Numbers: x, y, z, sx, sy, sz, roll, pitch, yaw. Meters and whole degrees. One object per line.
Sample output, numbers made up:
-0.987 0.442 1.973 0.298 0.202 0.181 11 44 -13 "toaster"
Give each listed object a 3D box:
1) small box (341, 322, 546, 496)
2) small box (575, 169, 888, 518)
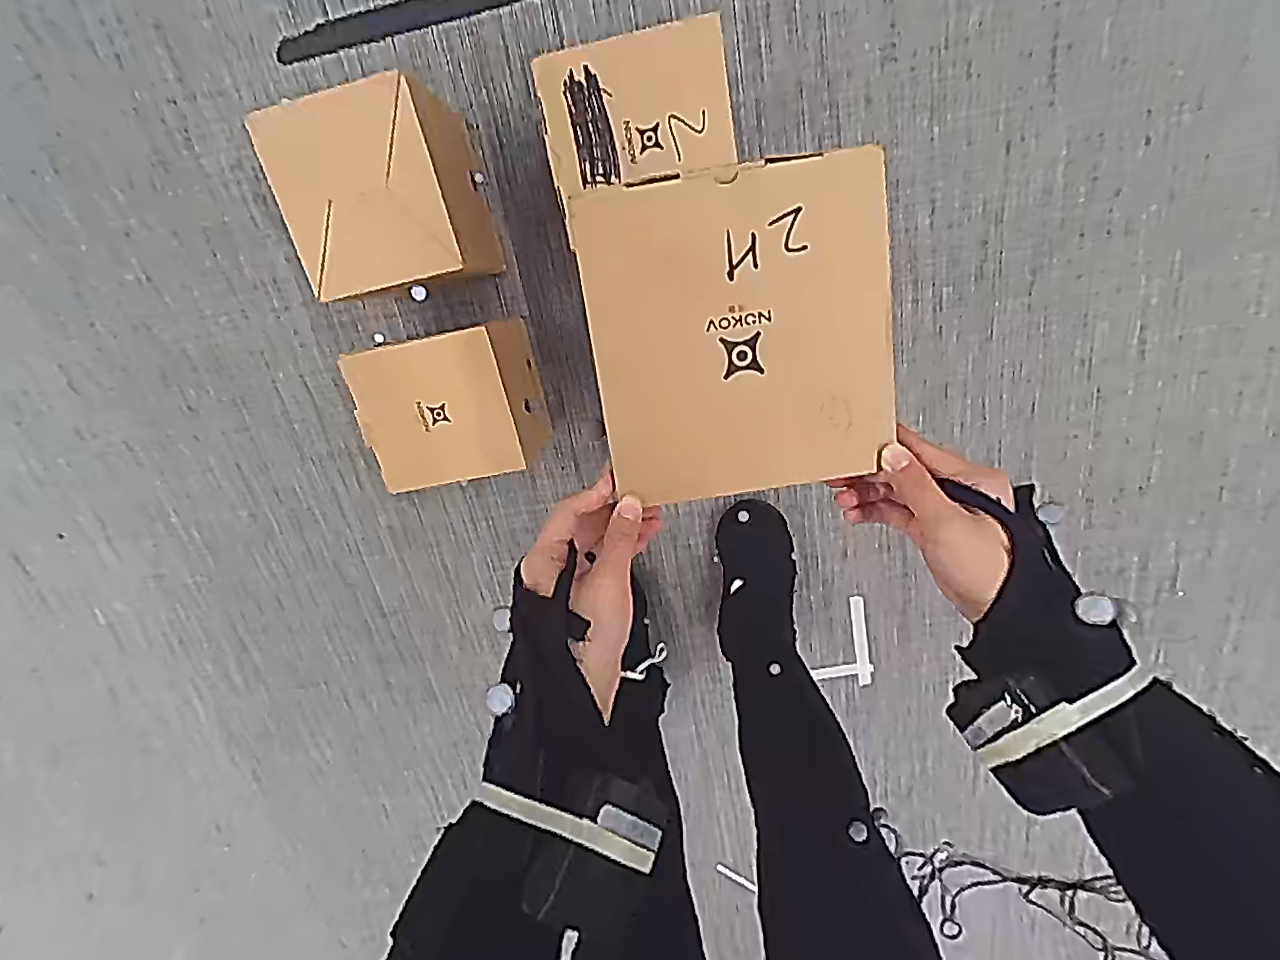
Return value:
-0.226 -0.097 0.683 0.179 0.176 0.168 -10 110 6 "small box"
0.055 -0.089 0.381 0.168 0.176 0.179 -8 103 0 "small box"
